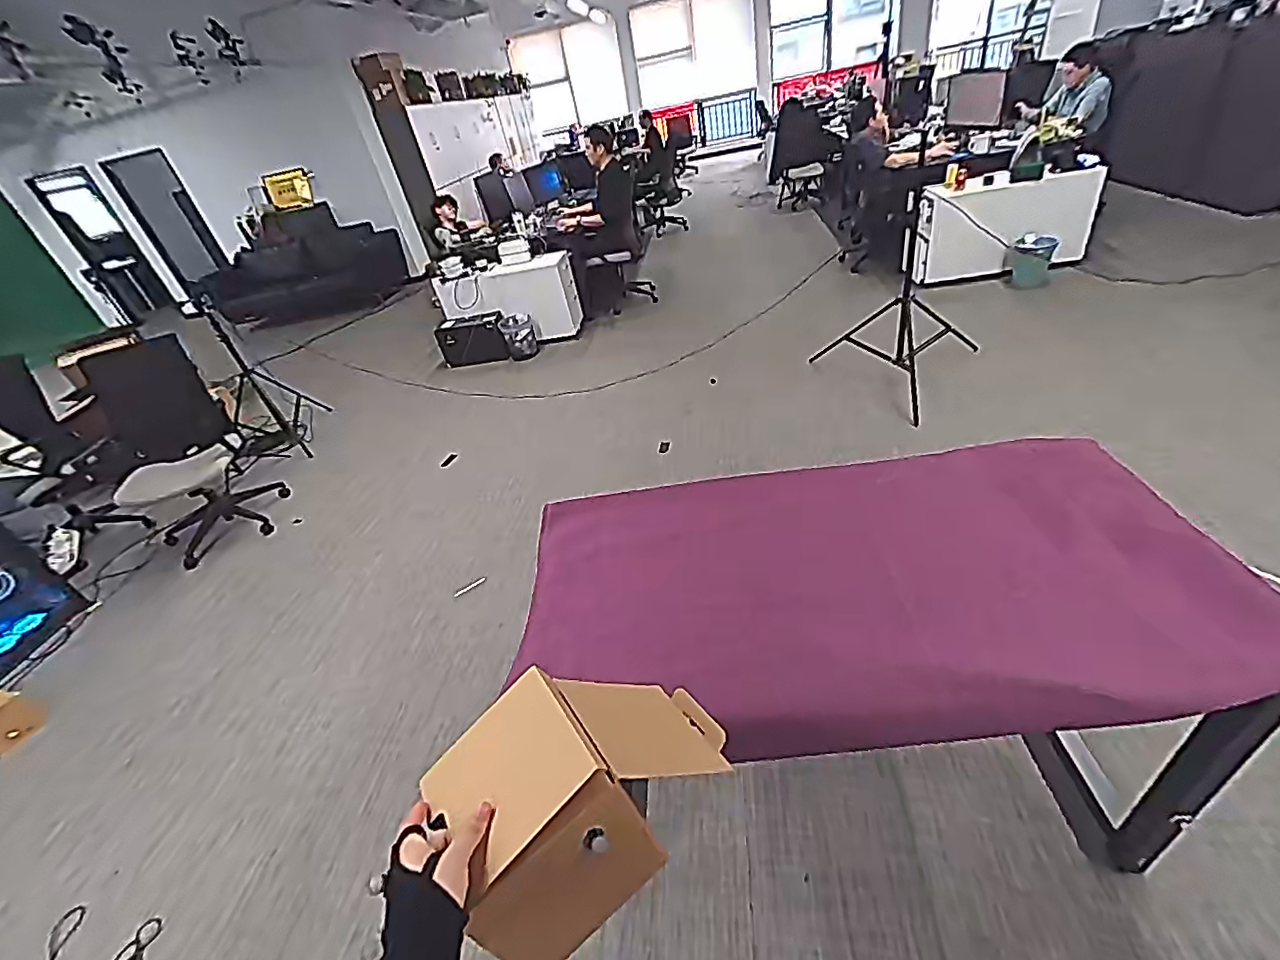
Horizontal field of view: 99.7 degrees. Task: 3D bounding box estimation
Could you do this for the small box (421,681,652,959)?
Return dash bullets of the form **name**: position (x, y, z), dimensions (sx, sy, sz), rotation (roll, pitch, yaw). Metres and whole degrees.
- **small box**: position (-0.105, 0.370, 0.593), dimensions (0.179, 0.176, 0.168), rotation (-33, 31, -18)
